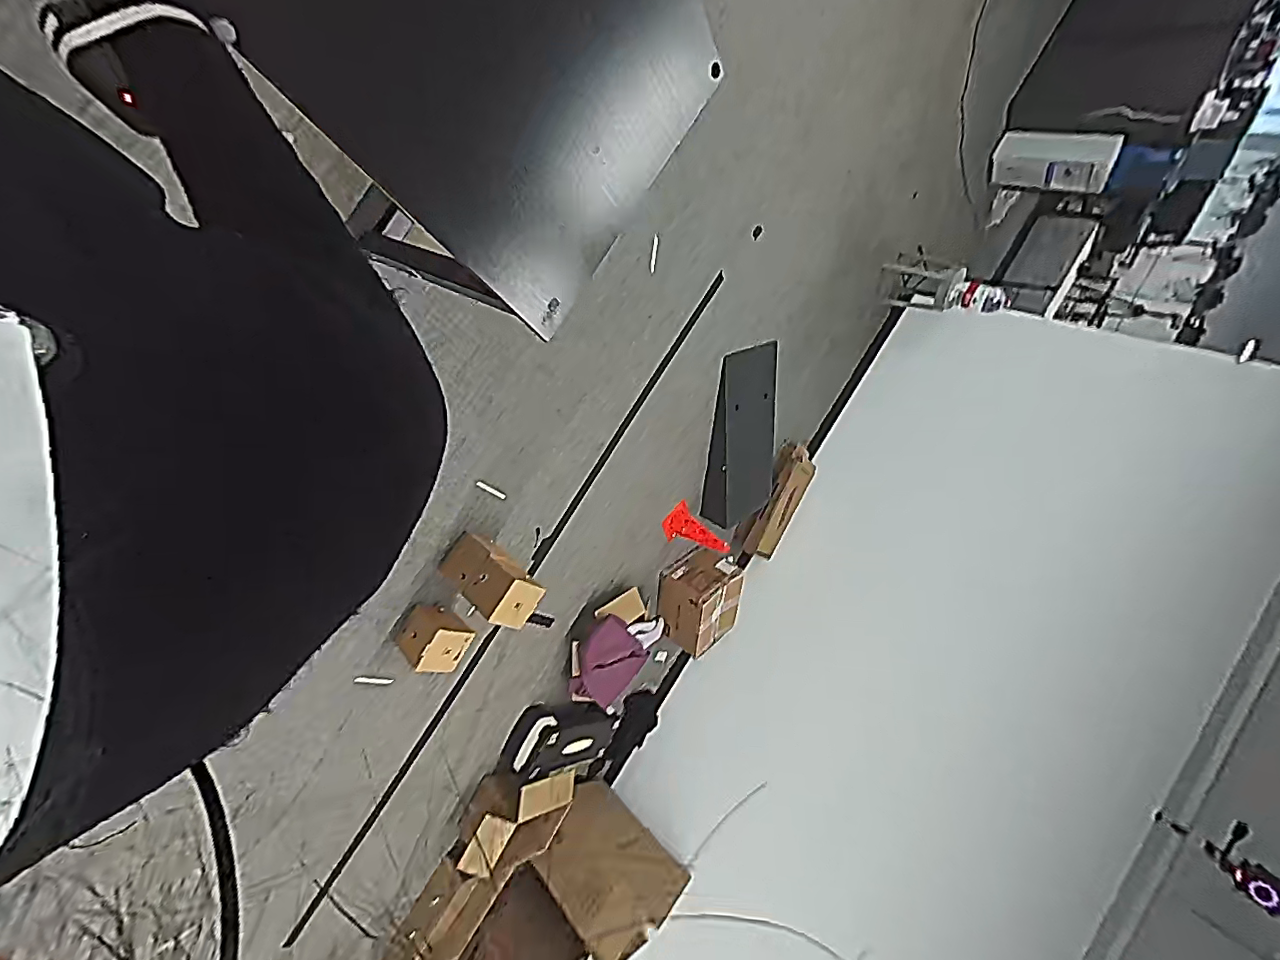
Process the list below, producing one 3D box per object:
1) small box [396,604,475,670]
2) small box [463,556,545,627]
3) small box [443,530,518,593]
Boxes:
[{"bbox_3d":[-0.742,0.566,1.955,0.168,0.176,0.179,-59,144,-2],"label":"small box"},{"bbox_3d":[-0.472,0.386,1.877,0.168,0.176,0.179,-58,144,-5],"label":"small box"},{"bbox_3d":[-0.586,0.312,1.966,0.179,0.176,0.168,-57,145,-6],"label":"small box"}]
